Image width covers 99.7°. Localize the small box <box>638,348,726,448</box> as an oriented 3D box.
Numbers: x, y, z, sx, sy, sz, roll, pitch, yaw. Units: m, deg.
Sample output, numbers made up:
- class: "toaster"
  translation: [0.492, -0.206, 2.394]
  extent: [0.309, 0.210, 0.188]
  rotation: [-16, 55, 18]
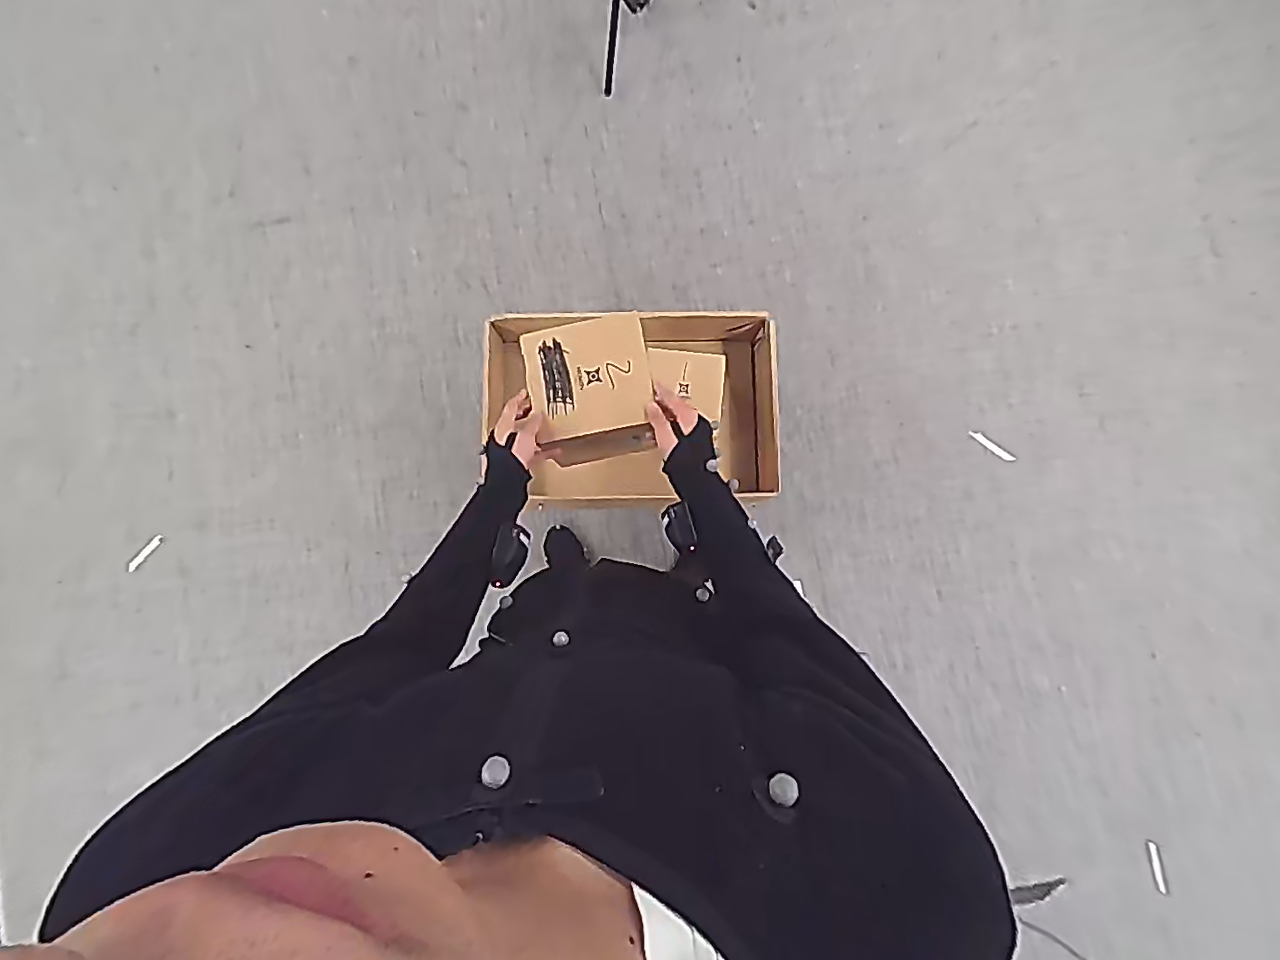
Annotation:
- class: "small box"
  translation: [0.087, -0.171, 1.182]
  extent: [0.168, 0.176, 0.179]
  rotation: [6, 84, 0]
